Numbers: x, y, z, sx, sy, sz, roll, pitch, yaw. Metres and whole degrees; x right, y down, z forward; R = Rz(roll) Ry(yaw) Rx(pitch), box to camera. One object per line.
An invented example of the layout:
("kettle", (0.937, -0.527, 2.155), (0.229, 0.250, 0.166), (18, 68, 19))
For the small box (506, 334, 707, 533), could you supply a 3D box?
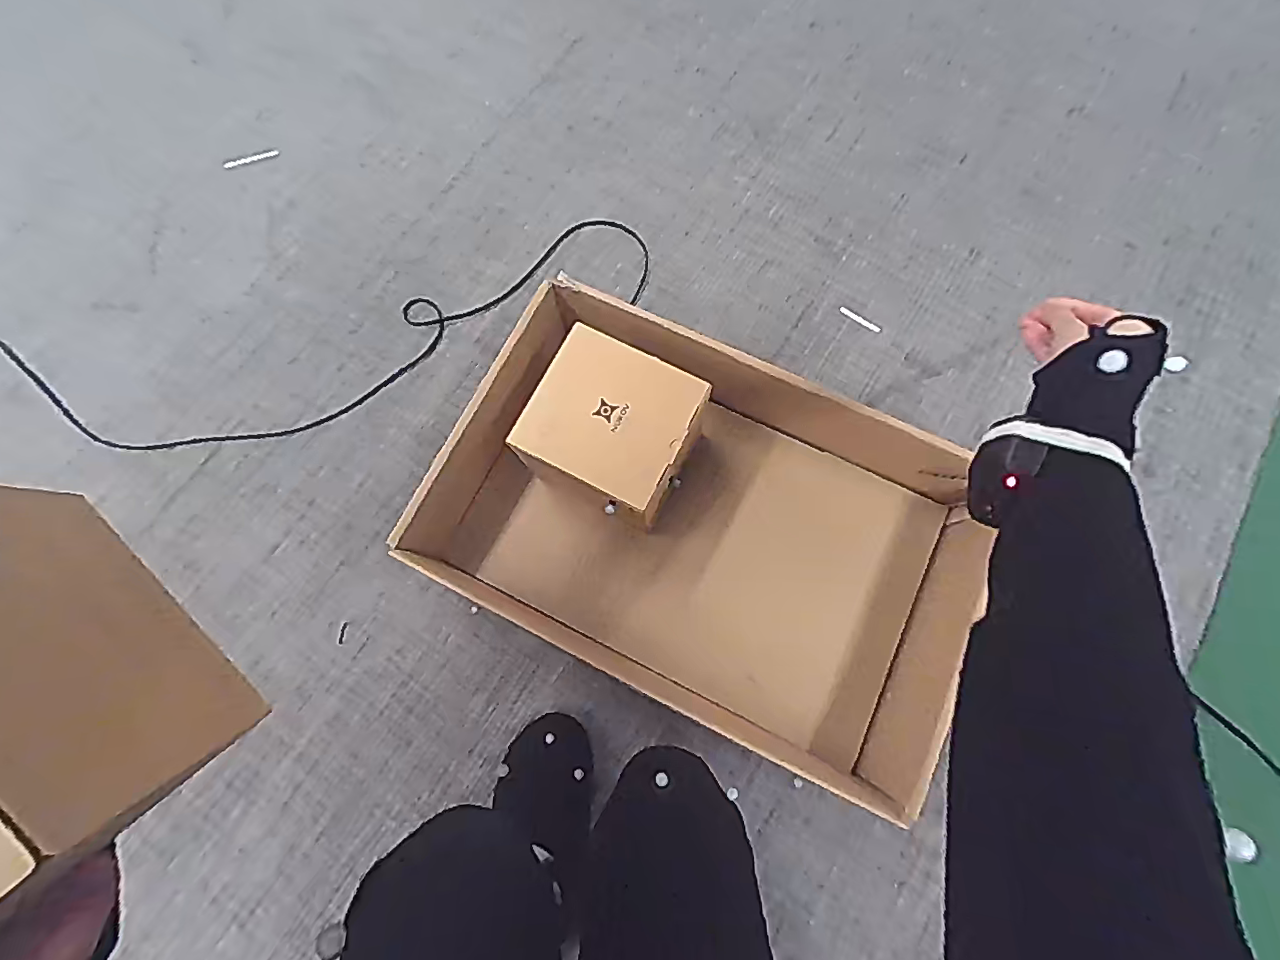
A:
("small box", (-0.036, -0.045, 0.679), (0.179, 0.176, 0.168), (26, 78, 6))
